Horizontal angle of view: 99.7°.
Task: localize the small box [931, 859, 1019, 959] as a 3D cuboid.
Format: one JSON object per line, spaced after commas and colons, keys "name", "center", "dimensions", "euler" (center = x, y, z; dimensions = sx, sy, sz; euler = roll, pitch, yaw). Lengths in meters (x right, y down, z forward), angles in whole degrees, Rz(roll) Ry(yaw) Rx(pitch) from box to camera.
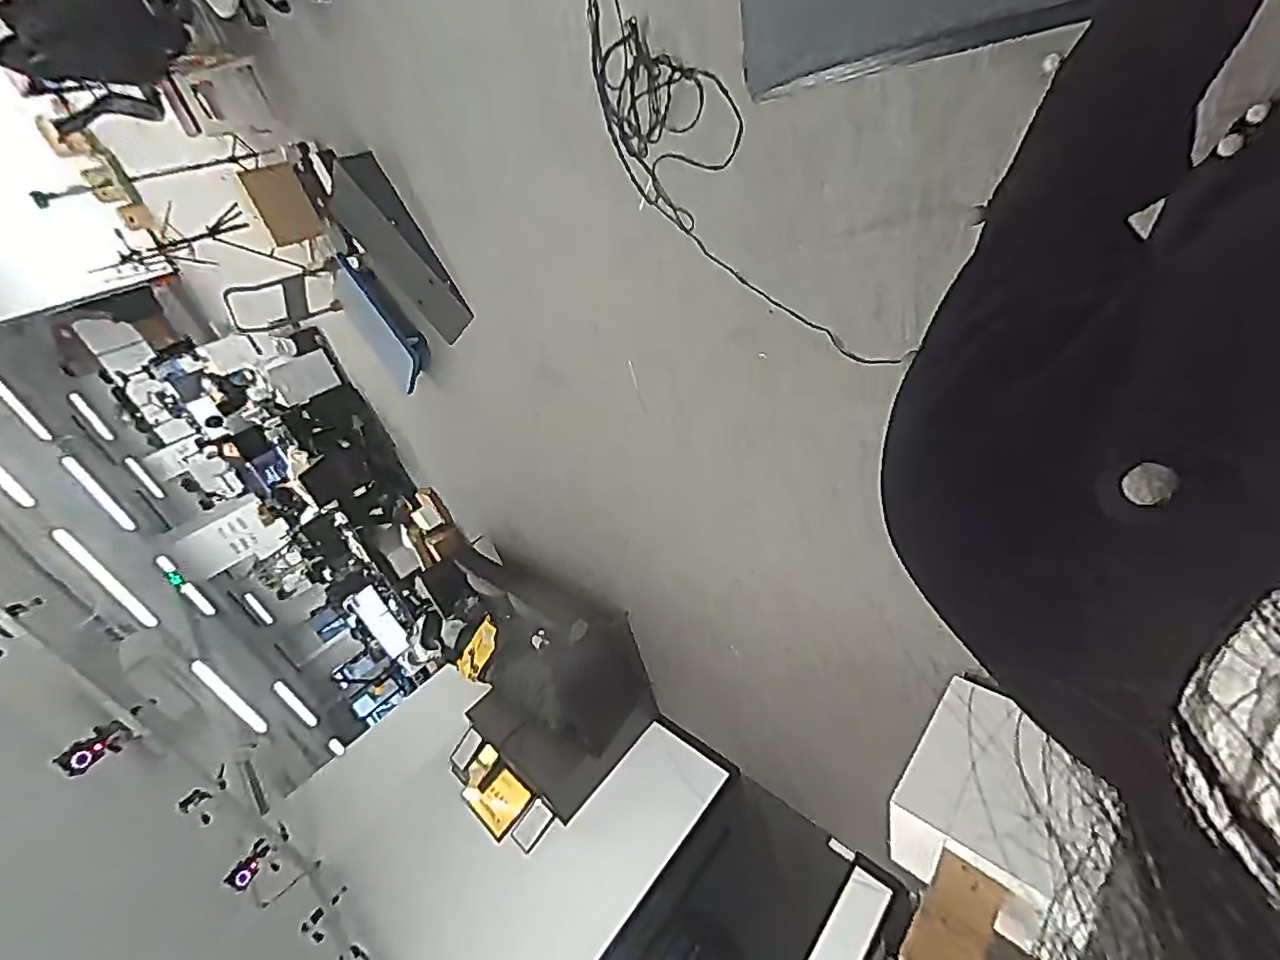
{"name": "small box", "center": [0.953, 1.239, 1.541], "dimensions": [0.168, 0.176, 0.179], "euler": [19, 136, 42]}
